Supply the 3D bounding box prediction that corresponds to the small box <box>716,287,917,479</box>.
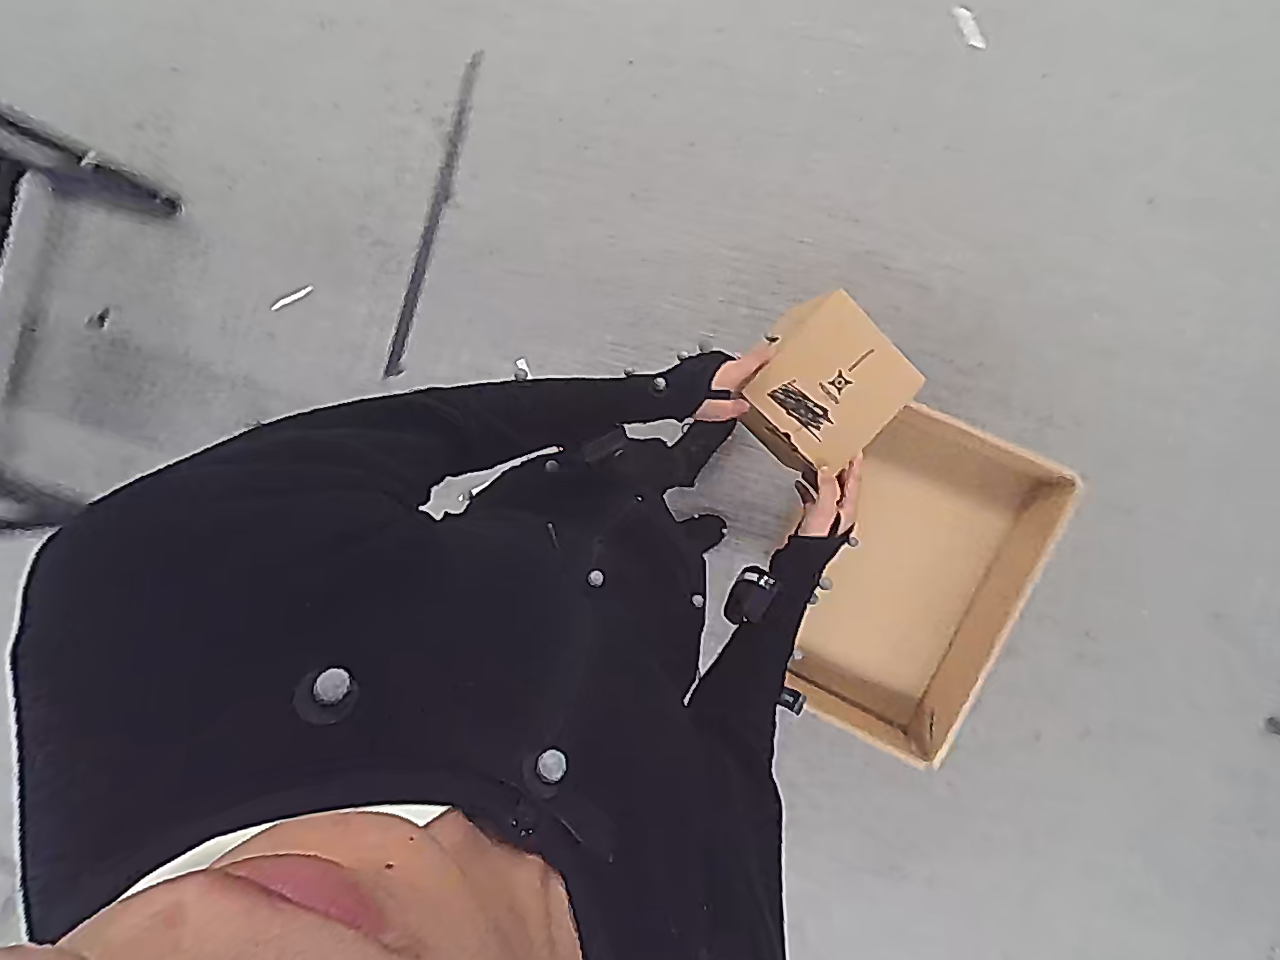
[{"bbox_3d":[0.223,-0.127,0.741,0.168,0.176,0.179,42,93,-10],"label":"small box"}]
